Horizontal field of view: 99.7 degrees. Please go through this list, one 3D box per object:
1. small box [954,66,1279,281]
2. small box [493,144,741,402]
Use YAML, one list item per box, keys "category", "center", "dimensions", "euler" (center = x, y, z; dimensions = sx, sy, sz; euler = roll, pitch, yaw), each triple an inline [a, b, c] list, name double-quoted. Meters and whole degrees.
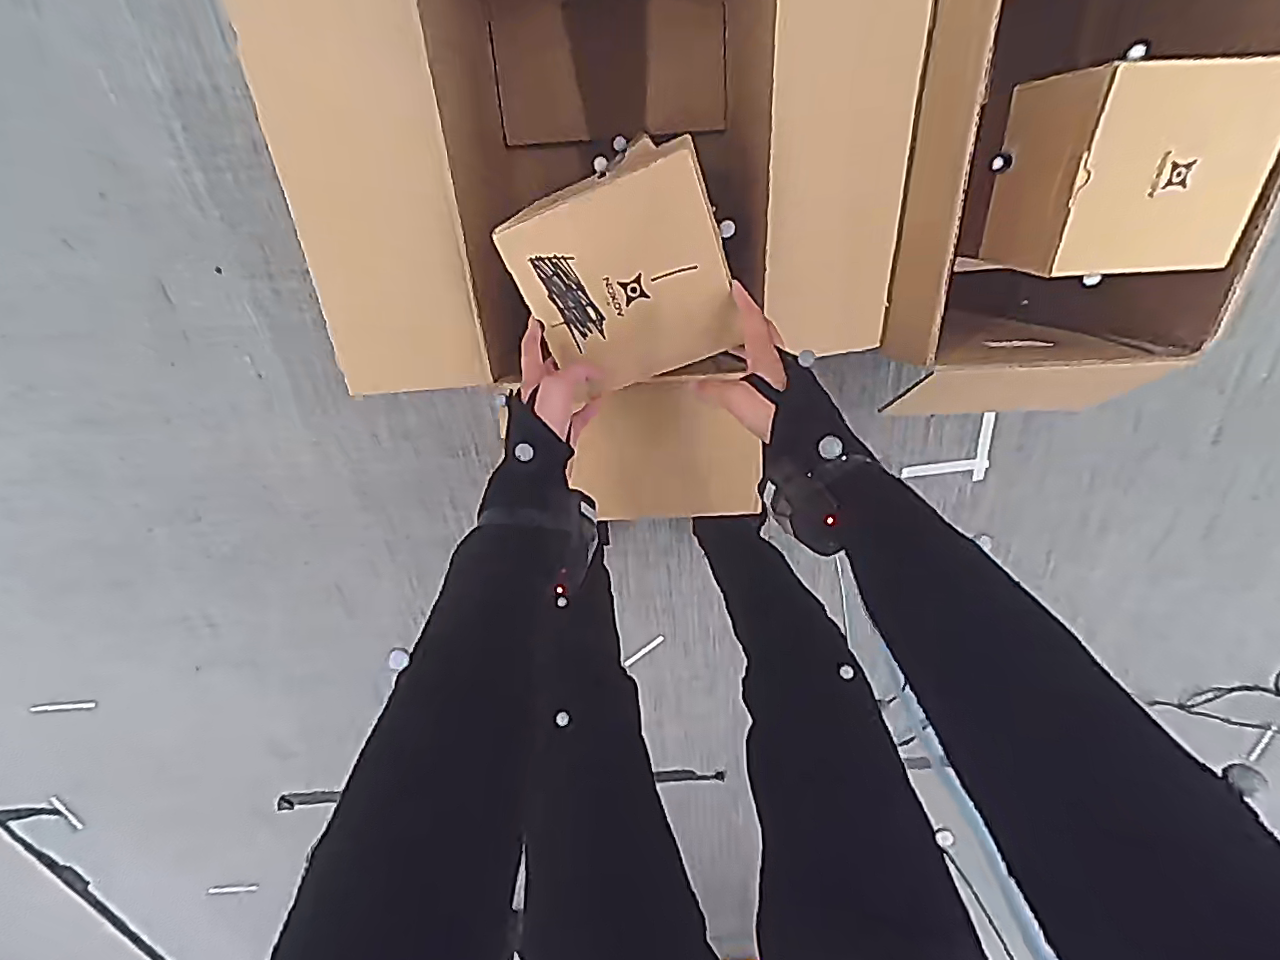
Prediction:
- category: "small box"
  center: [0.463, -0.305, 0.547]
  dimensions: [0.179, 0.176, 0.168]
  euler: [-3, 120, 0]
- category: "small box"
  center: [-0.010, -0.205, 0.532]
  dimensions: [0.179, 0.176, 0.168]
  euler: [-16, 123, 15]
